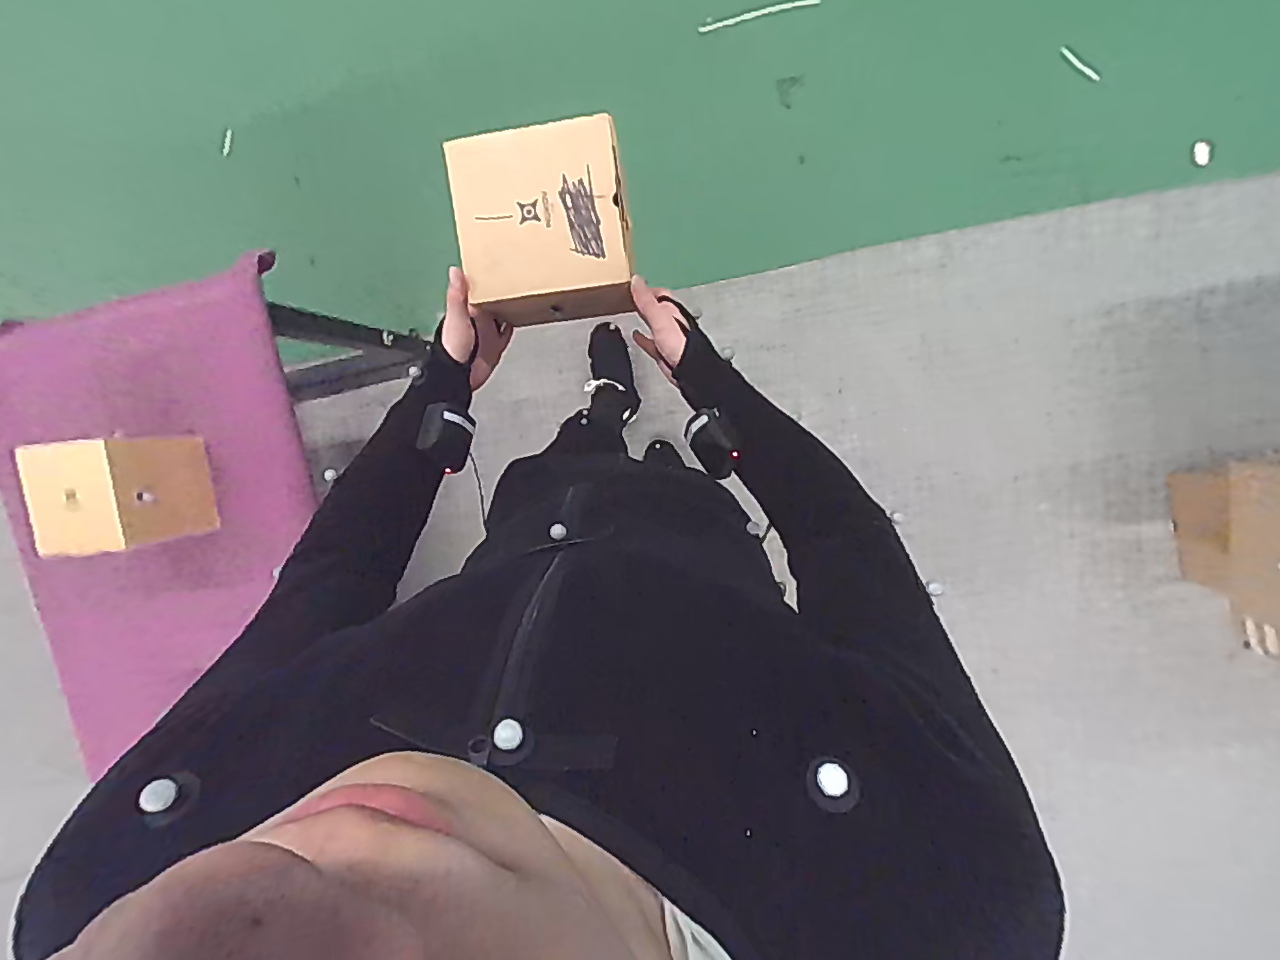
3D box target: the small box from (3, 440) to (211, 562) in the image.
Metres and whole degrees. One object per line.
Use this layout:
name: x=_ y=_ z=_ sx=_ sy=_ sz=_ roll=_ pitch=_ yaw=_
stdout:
small box: x=-0.875 y=0.026 z=0.905 sx=0.168 sy=0.176 sz=0.179 roll=-5 pitch=98 yaw=6

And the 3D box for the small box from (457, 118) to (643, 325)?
small box: x=-0.089 y=-0.283 z=0.631 sx=0.179 sy=0.176 sz=0.168 roll=-6 pitch=97 yaw=4
